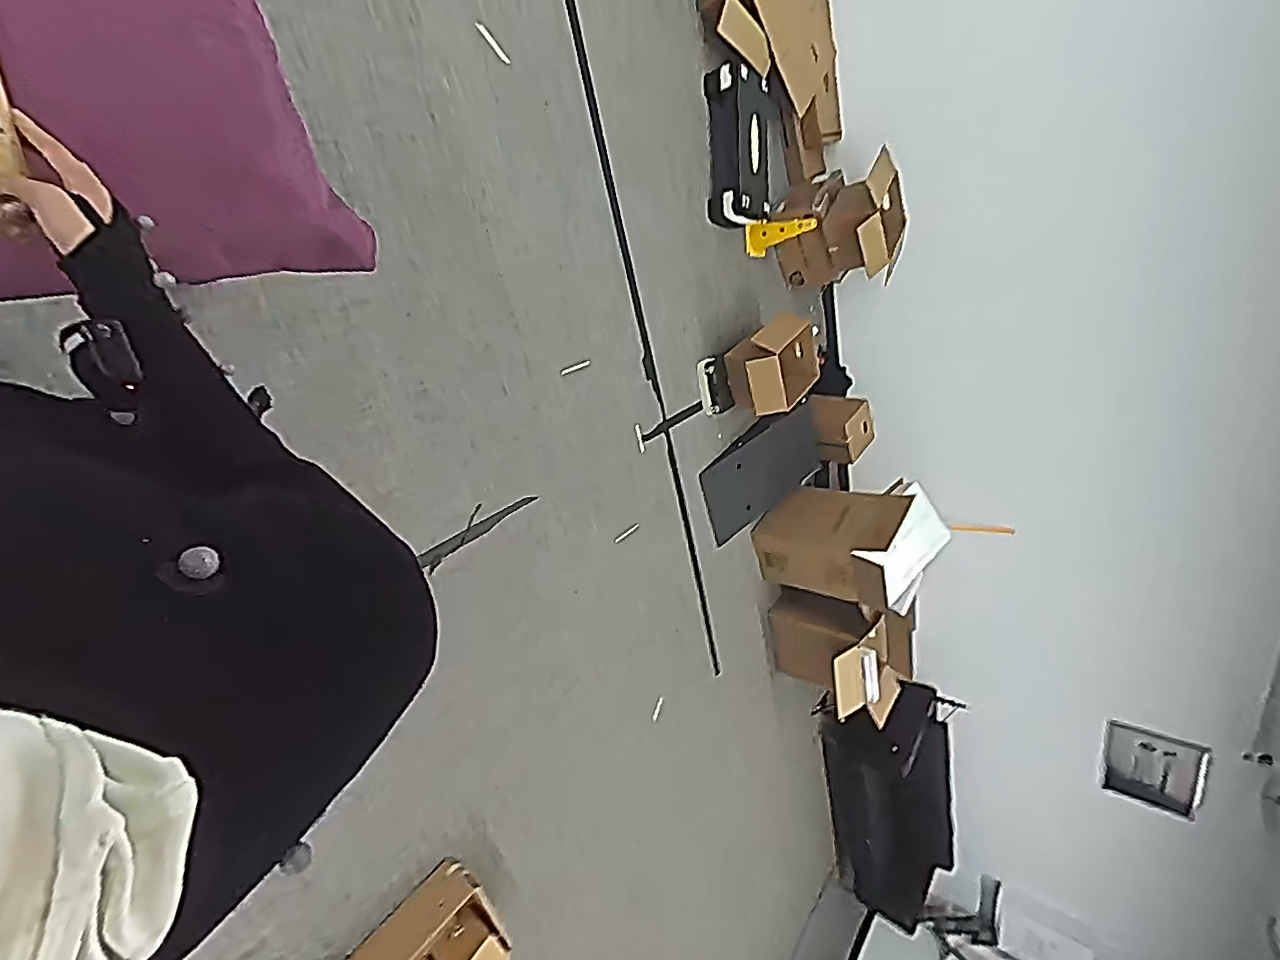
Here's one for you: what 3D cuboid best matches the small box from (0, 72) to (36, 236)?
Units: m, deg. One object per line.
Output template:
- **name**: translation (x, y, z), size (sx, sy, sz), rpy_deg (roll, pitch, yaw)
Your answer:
- **small box**: translation (-0.648, -0.307, 0.439), size (0.179, 0.176, 0.168), rpy_deg (-21, 110, -50)
